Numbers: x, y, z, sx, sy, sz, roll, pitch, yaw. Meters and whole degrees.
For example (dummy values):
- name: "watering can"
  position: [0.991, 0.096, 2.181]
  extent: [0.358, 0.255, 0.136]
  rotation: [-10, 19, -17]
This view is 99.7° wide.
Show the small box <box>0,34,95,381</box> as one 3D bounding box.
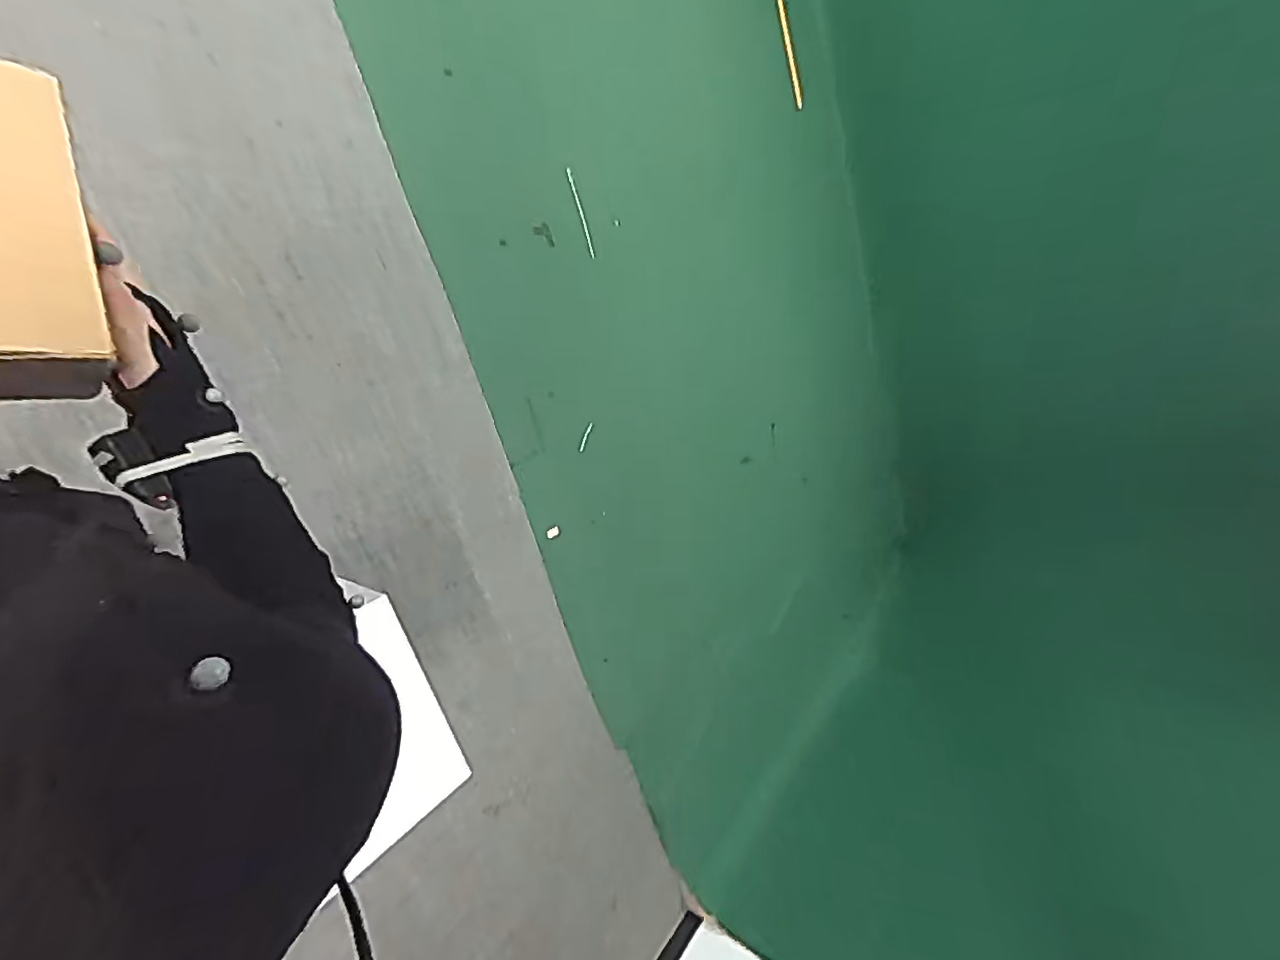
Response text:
- name: "small box"
  position: [-0.463, -0.160, 0.321]
  extent: [0.168, 0.176, 0.179]
  rotation: [-13, 98, -48]
